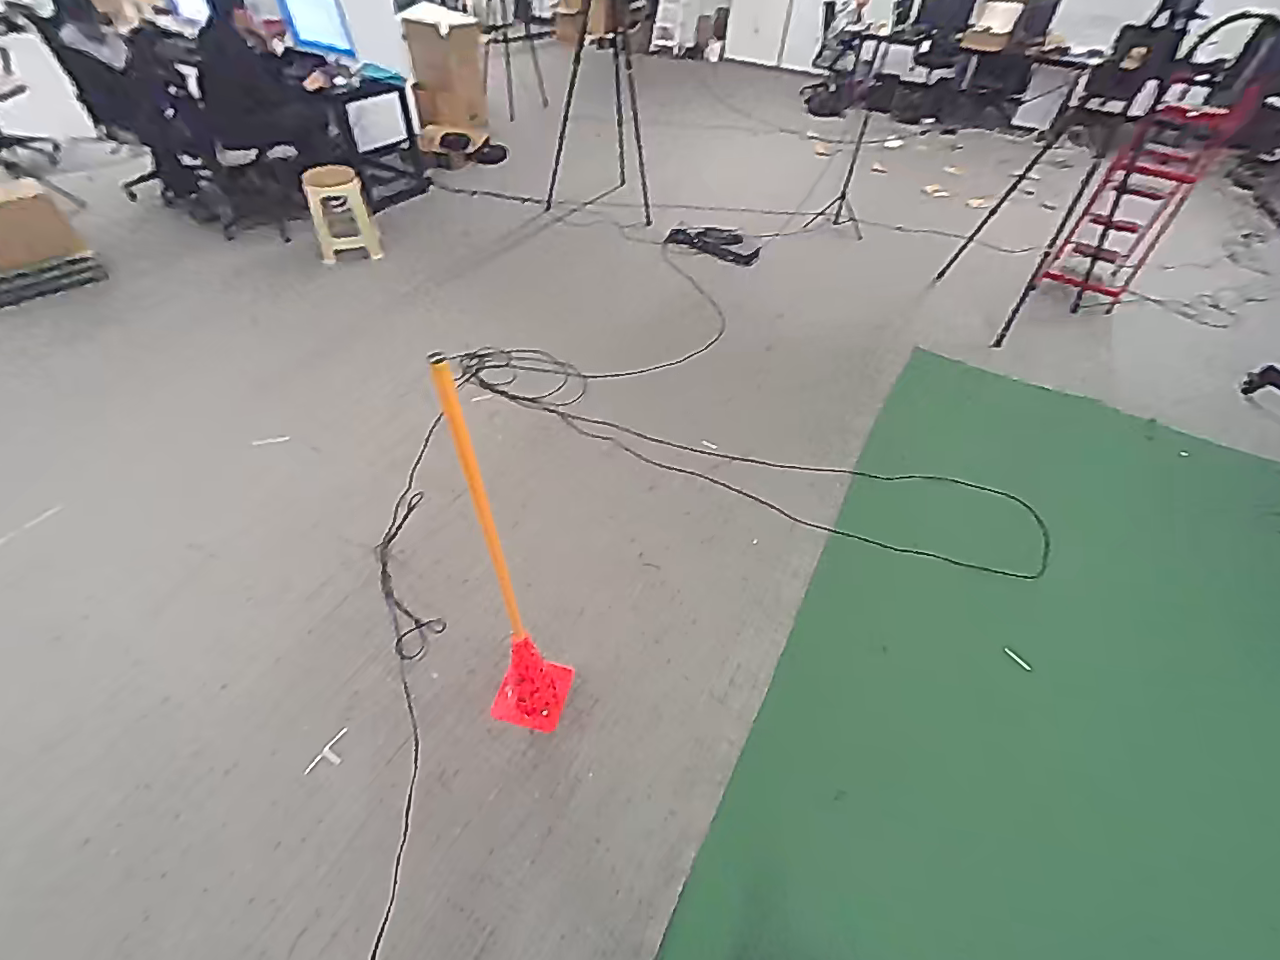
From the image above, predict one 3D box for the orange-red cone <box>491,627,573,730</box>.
[{"bbox_3d":[-0.306,0.504,1.484,0.198,0.360,0.199,14,46,8],"label":"orange-red cone"}]
